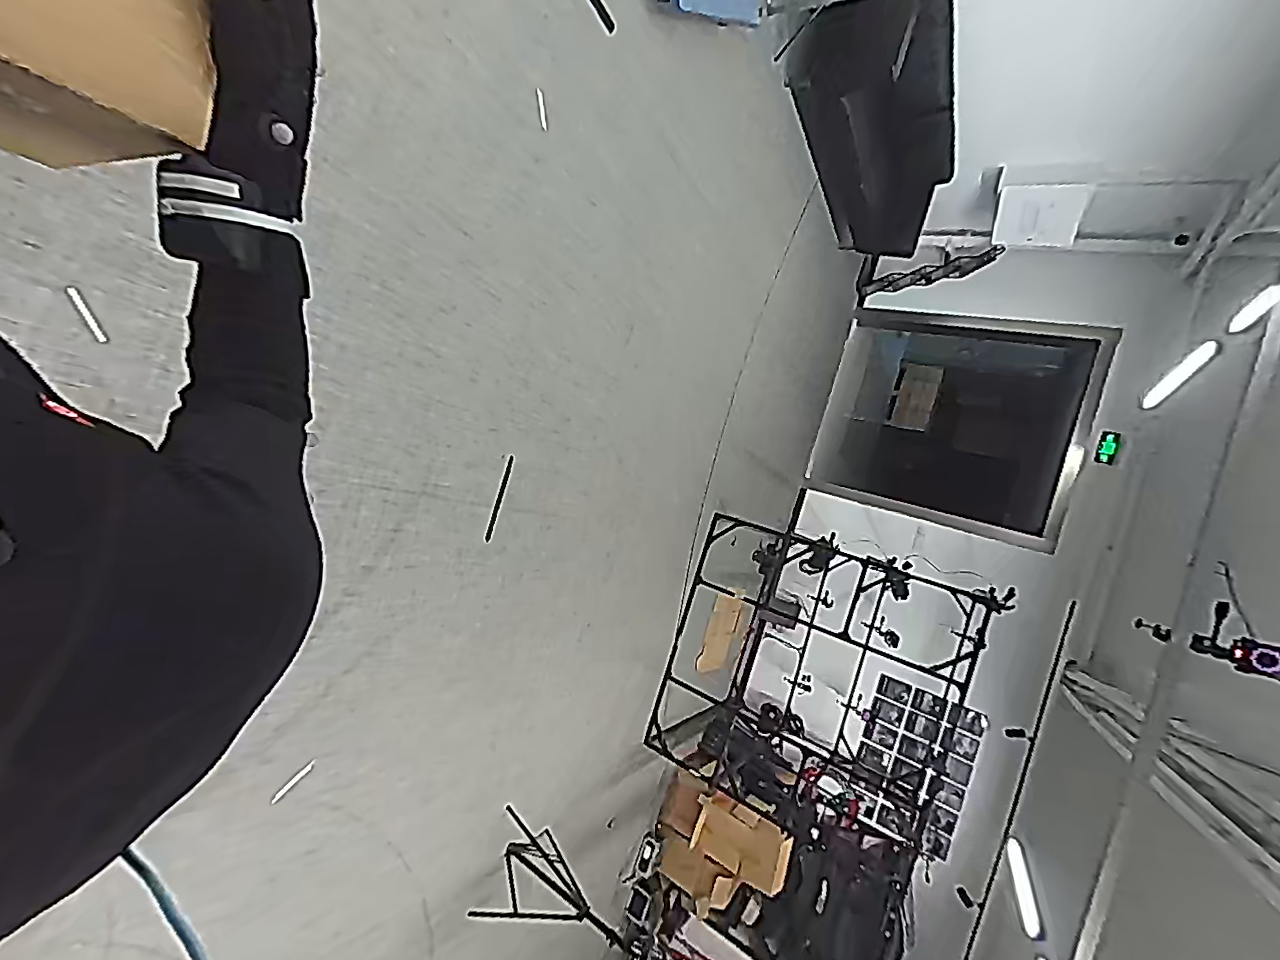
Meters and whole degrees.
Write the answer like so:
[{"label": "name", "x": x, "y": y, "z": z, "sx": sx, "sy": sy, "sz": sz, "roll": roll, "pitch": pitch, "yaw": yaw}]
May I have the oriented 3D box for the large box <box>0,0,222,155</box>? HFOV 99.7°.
[{"label": "large box", "x": -0.493, "y": -0.422, "z": 0.257, "sx": 0.408, "sy": 0.320, "sz": 0.320, "roll": 3, "pitch": 102, "yaw": -61}]
